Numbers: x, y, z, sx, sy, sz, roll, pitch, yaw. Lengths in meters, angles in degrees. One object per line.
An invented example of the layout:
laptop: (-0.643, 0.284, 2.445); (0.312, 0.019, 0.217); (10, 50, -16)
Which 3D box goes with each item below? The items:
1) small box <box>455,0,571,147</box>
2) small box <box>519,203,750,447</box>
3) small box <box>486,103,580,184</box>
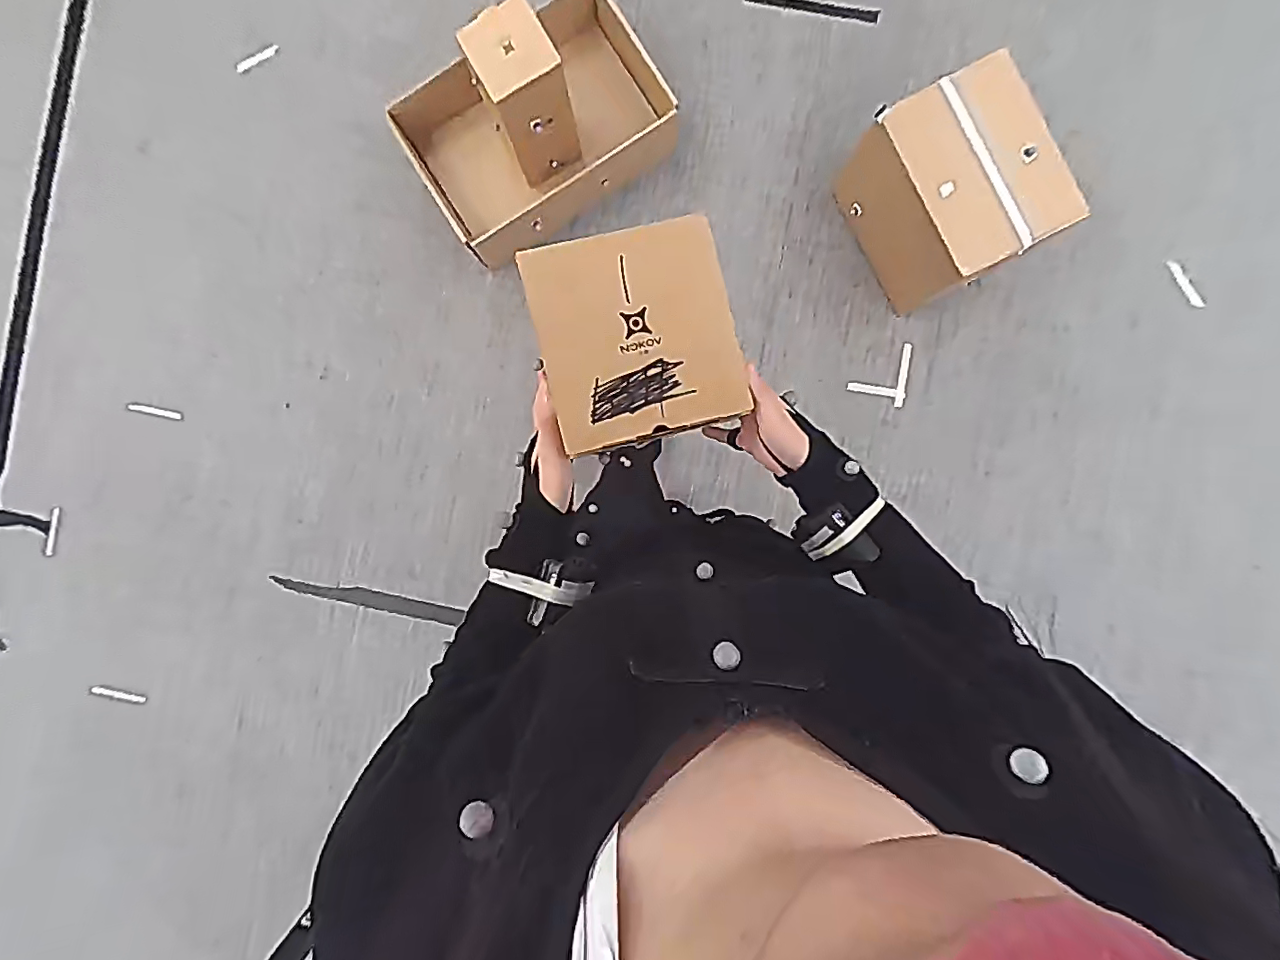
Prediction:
small box: (-0.271, -0.892, 1.192); (0.168, 0.176, 0.179); (-31, 91, 2)
small box: (-0.008, -0.134, 0.530); (0.168, 0.176, 0.179); (-14, 93, -5)
small box: (-0.268, -0.892, 1.354); (0.168, 0.176, 0.179); (-29, 90, 2)
